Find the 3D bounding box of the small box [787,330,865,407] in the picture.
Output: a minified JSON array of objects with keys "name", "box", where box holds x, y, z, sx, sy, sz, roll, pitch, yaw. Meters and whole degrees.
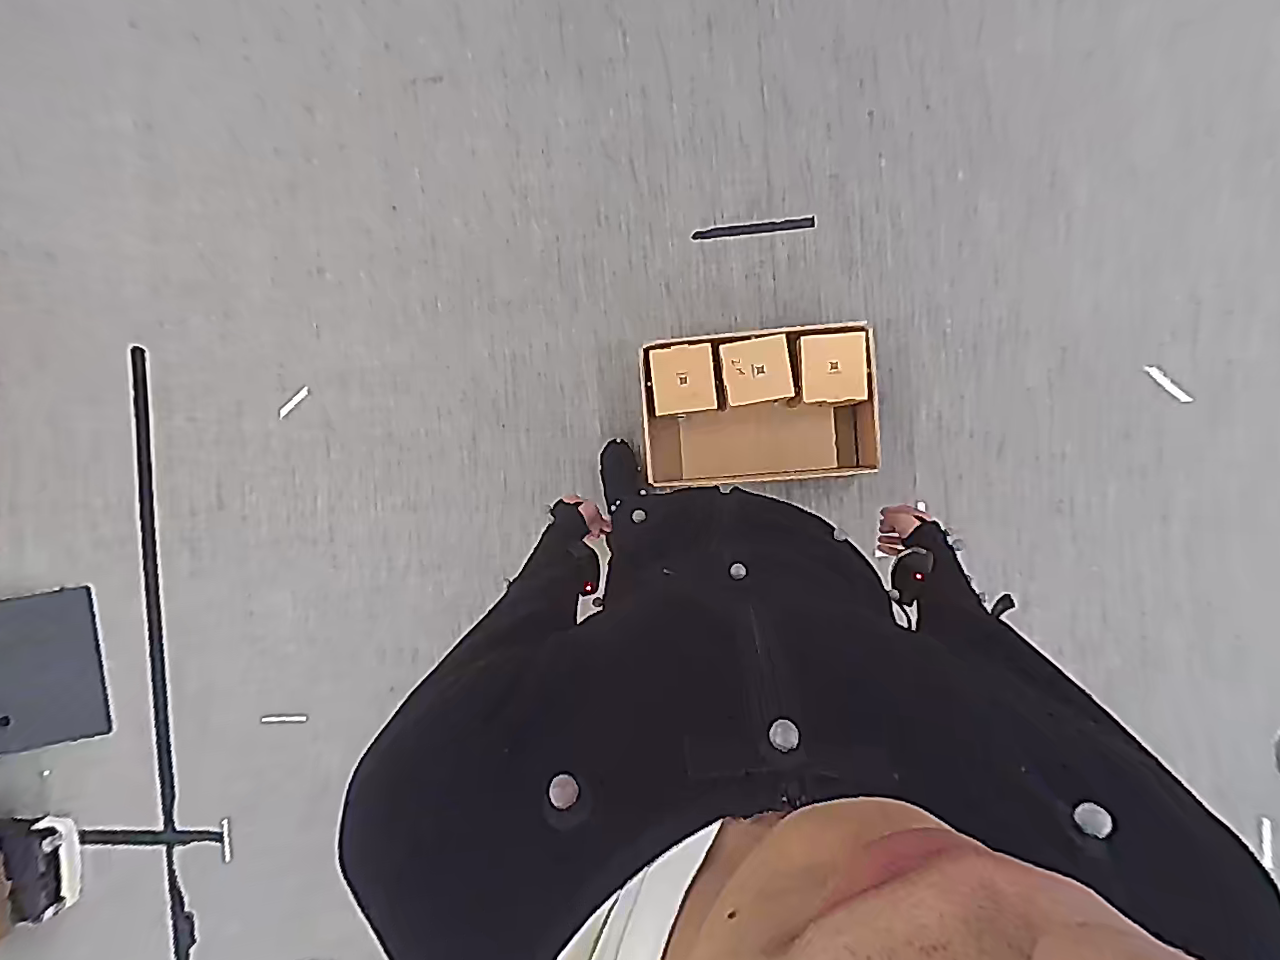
[{"name":"small box","box":[0.500,-0.298,1.475,0.168,0.176,0.179,-3,93,5]}]
